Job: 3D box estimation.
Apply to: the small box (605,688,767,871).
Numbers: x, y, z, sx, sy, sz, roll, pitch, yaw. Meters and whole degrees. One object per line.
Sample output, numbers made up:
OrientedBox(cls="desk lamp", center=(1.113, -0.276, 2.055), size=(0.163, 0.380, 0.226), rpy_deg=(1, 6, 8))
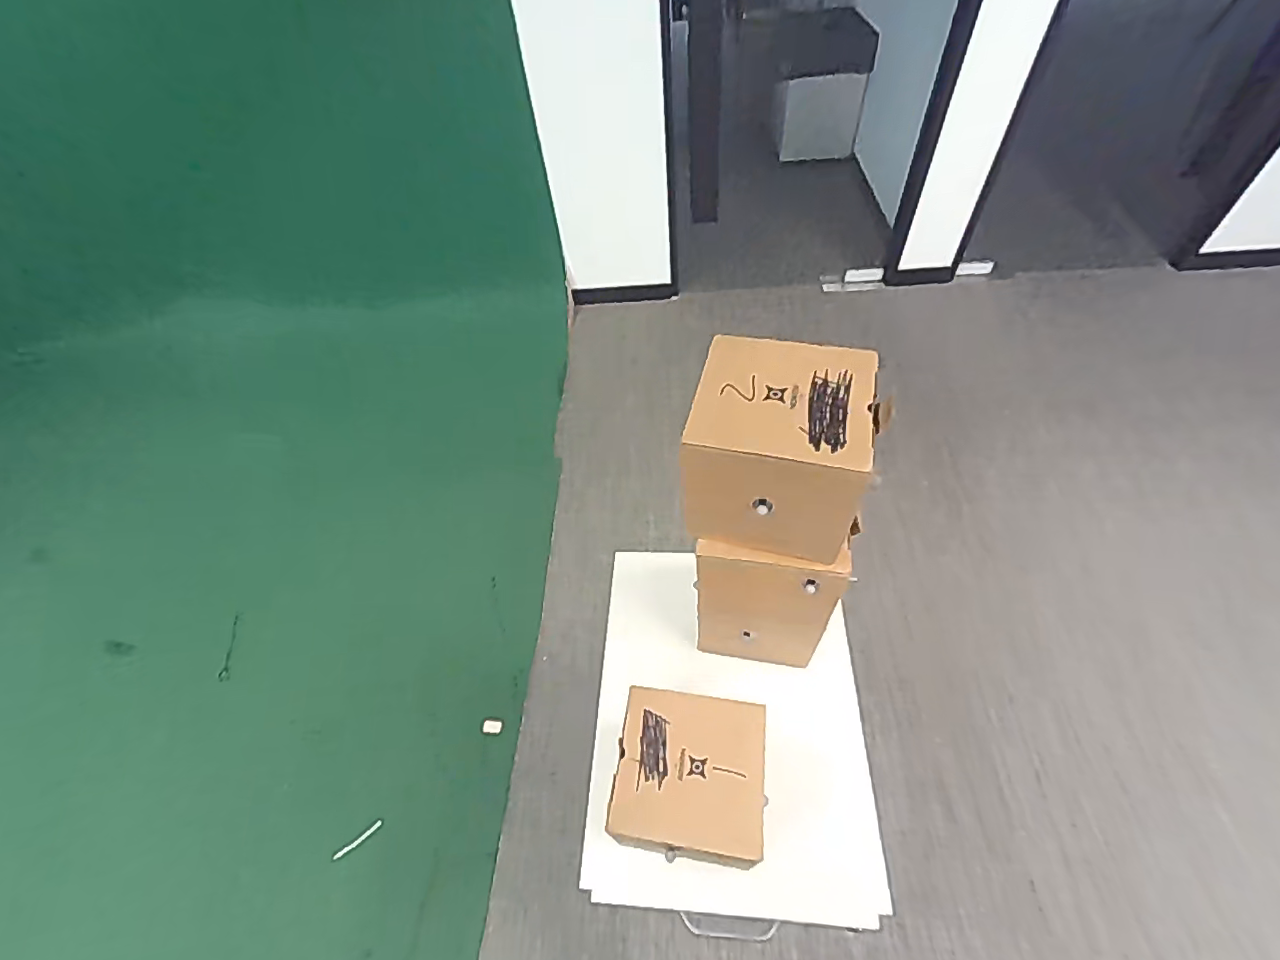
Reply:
OrientedBox(cls="small box", center=(0.065, 0.390, 0.700), size=(0.179, 0.176, 0.168), rpy_deg=(6, 52, 9))

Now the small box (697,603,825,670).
OrientedBox(cls="small box", center=(0.188, 0.182, 0.850), size=(0.179, 0.176, 0.168), rpy_deg=(6, 53, 11))

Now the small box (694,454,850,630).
OrientedBox(cls="small box", center=(0.170, 0.086, 0.721), size=(0.179, 0.176, 0.168), rpy_deg=(5, 53, 10))
